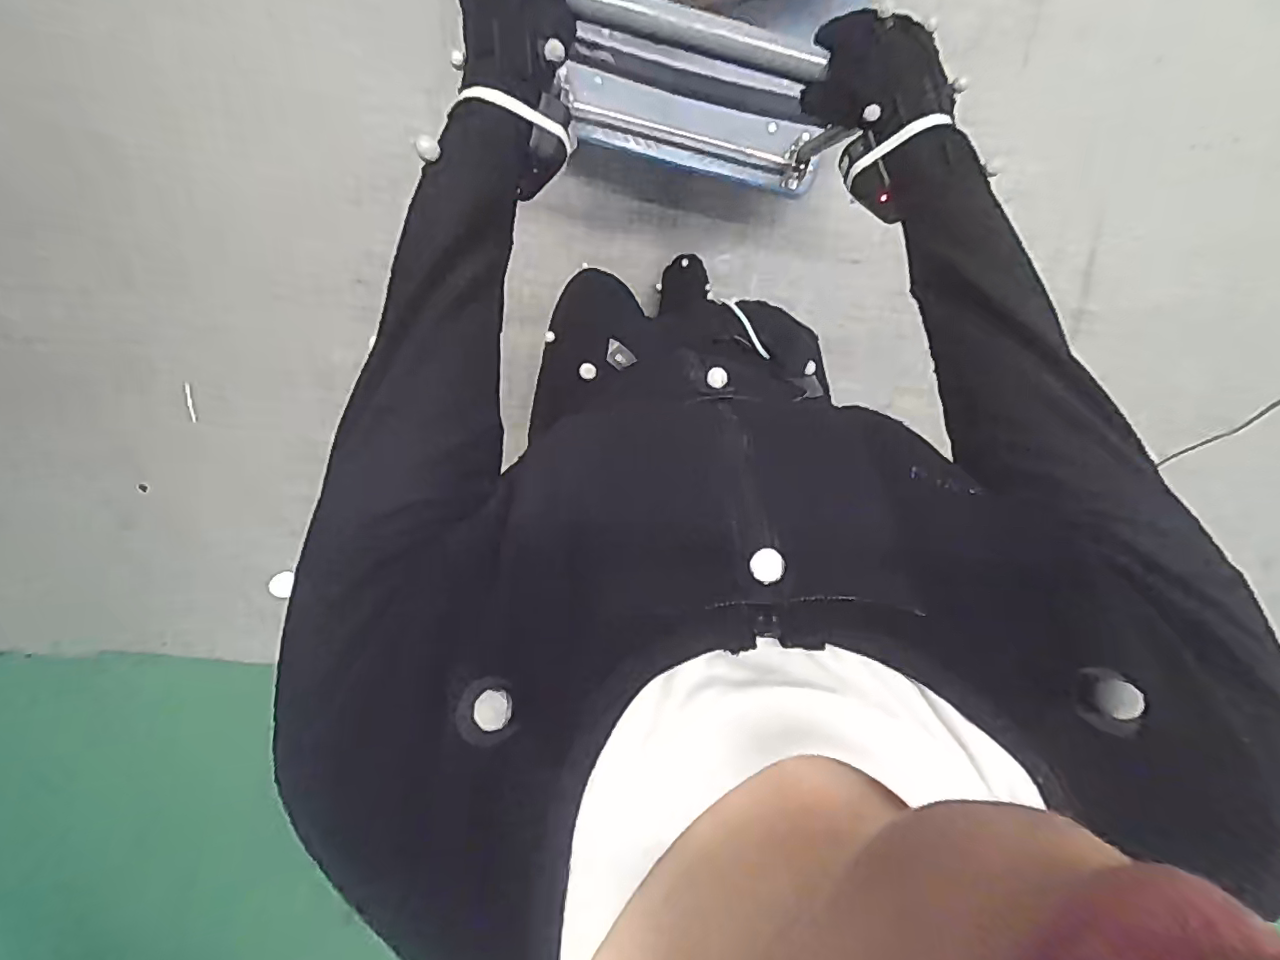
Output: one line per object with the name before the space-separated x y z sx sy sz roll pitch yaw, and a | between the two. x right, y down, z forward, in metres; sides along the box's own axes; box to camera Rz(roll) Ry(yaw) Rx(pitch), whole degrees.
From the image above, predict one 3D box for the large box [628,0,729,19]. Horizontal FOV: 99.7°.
large box | 0.152 -0.979 0.813 0.408 0.320 0.320 -7 109 5
